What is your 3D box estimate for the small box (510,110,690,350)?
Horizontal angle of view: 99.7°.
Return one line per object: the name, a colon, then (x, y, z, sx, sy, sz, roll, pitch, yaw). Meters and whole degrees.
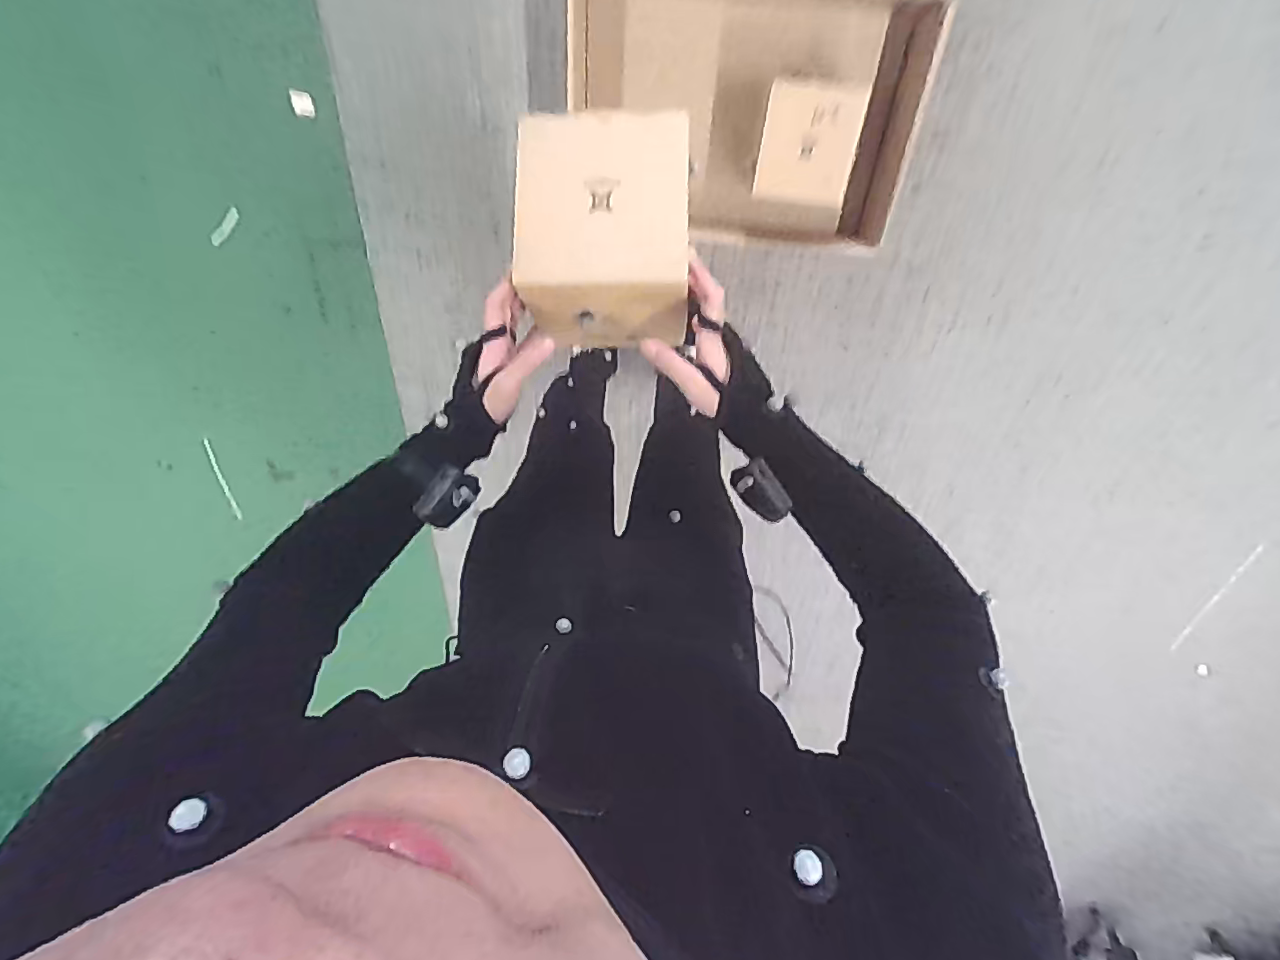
small box: (-0.031, -0.247, 0.575, 0.168, 0.176, 0.179, 0, 81, 3)
